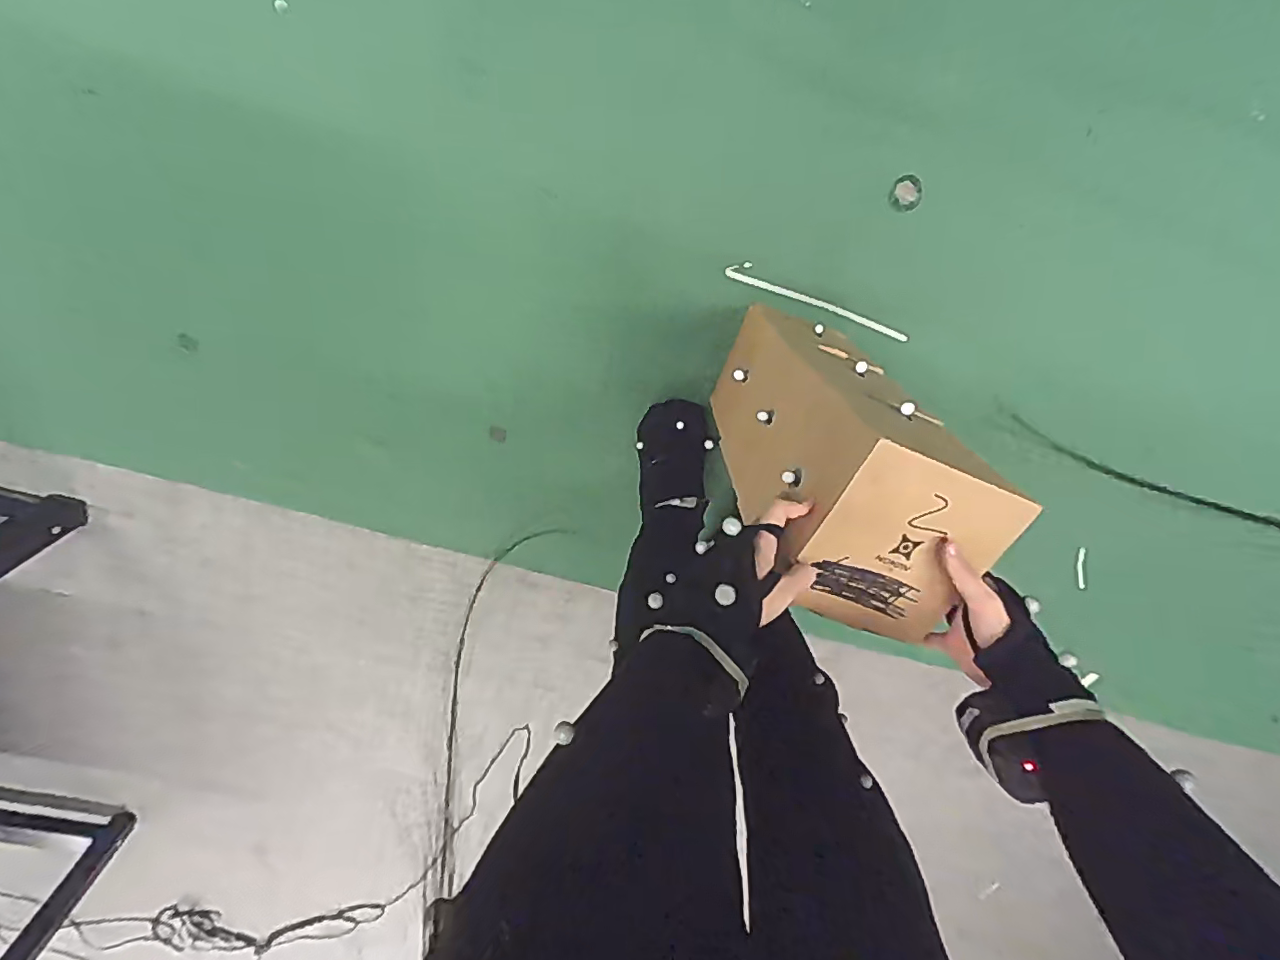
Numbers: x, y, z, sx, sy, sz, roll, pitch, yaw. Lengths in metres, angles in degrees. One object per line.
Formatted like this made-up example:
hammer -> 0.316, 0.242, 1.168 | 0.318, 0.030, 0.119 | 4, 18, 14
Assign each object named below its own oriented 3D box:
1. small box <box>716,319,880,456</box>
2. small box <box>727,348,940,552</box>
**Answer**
small box -> 0.225, -0.124, 0.829 | 0.168, 0.176, 0.179 | 17, 117, -9
small box -> 0.223, -0.045, 0.683 | 0.168, 0.176, 0.179 | 20, 117, -10
